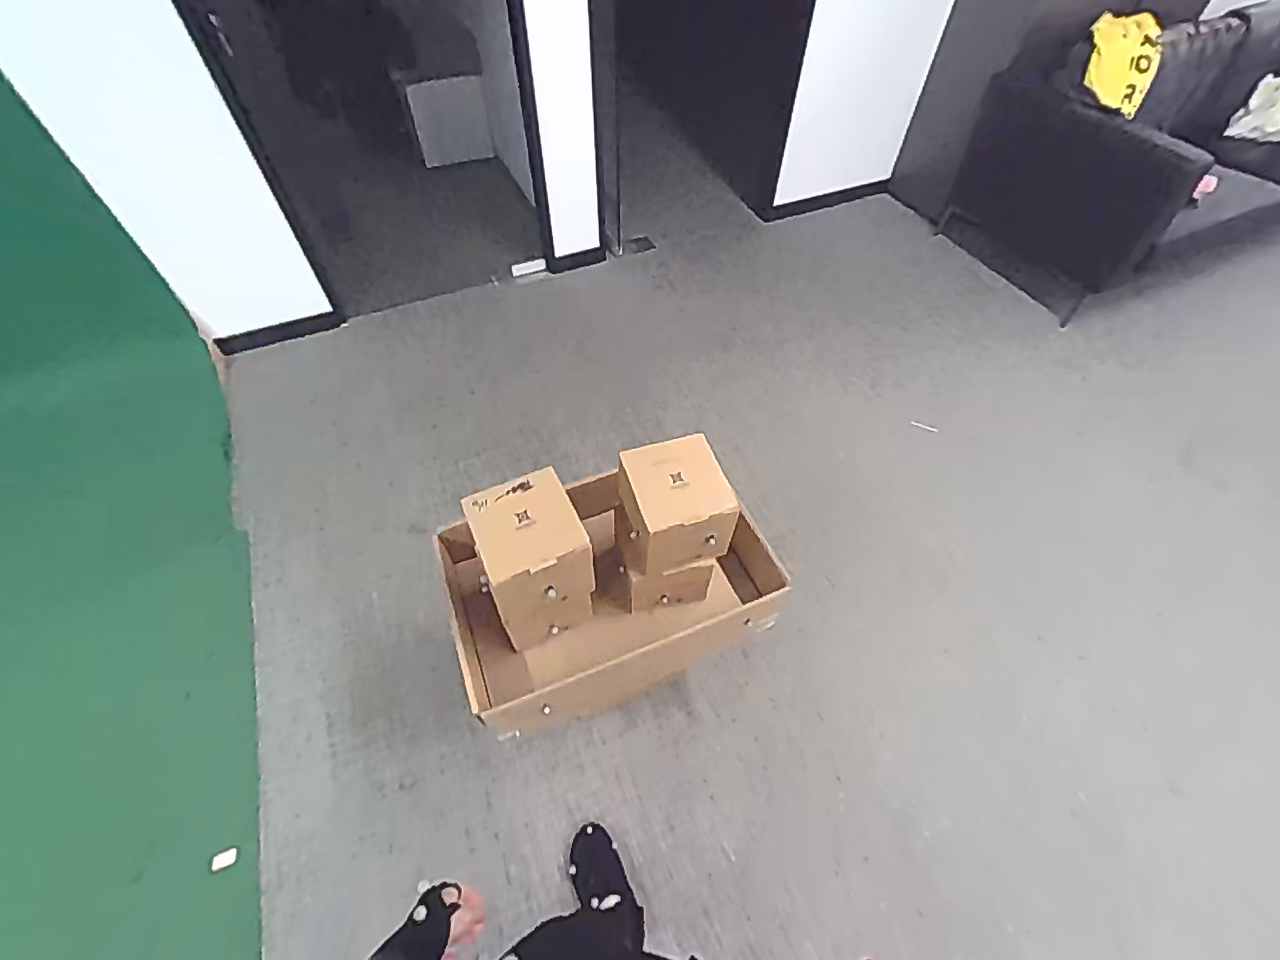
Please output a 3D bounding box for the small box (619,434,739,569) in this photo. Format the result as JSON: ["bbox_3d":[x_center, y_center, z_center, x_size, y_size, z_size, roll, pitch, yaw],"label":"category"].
[{"bbox_3d":[0.063,0.047,0.992,0.168,0.176,0.179,-13,55,-12],"label":"small box"}]

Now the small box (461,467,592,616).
[{"bbox_3d":[-0.189,0.114,0.932,0.168,0.176,0.179,-20,57,-17],"label":"small box"}]

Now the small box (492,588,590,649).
[{"bbox_3d":[-0.207,0.203,1.069,0.168,0.176,0.179,-21,57,-16],"label":"small box"}]
